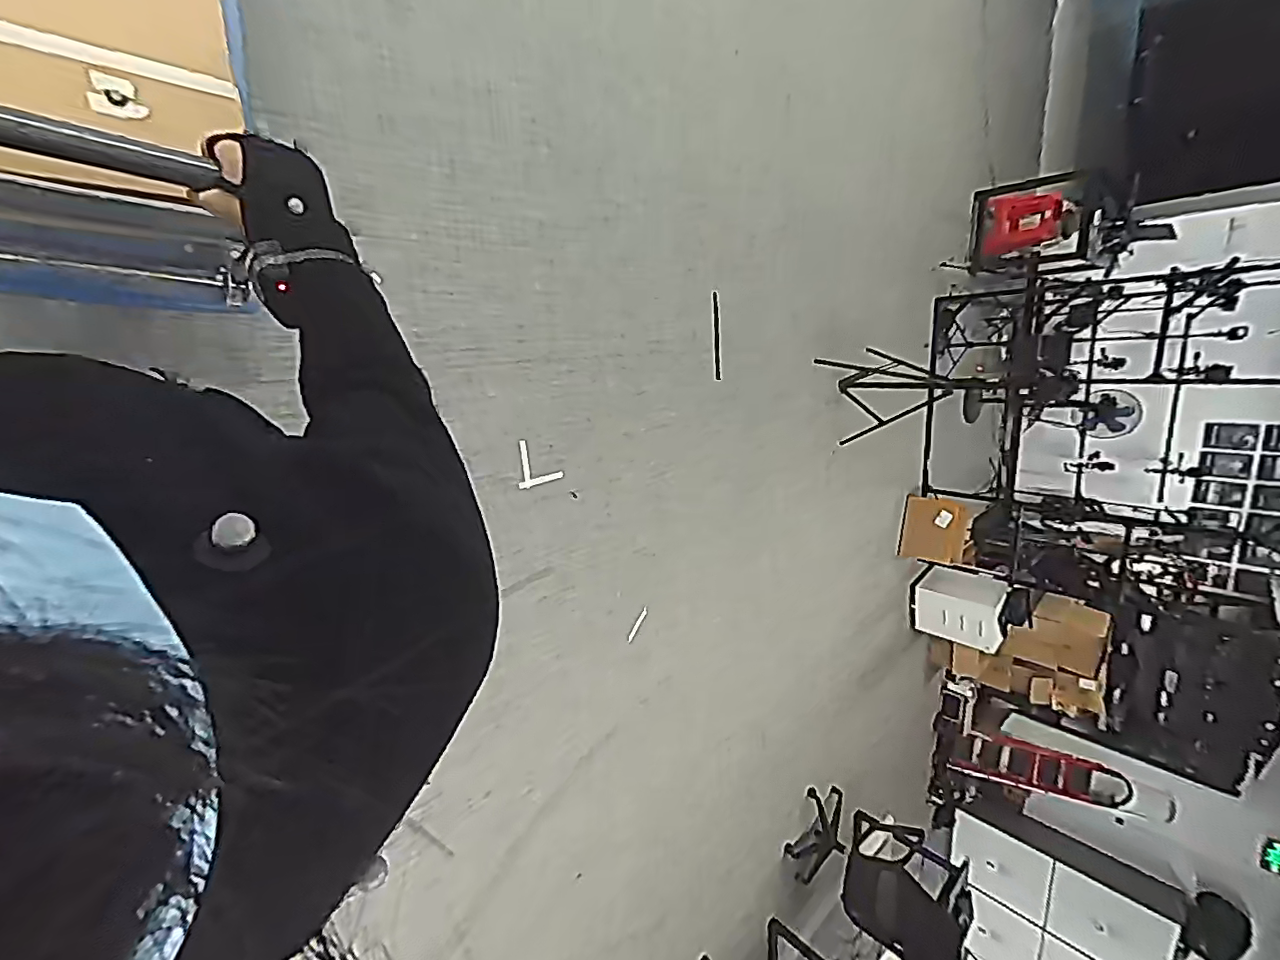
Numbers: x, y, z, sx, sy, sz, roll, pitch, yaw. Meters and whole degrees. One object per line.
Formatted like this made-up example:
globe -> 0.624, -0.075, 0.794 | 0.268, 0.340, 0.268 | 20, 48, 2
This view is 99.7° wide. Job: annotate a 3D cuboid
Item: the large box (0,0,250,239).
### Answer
large box -> -0.847, -0.554, 0.763 | 0.408, 0.320, 0.320 | -13, 107, -44
